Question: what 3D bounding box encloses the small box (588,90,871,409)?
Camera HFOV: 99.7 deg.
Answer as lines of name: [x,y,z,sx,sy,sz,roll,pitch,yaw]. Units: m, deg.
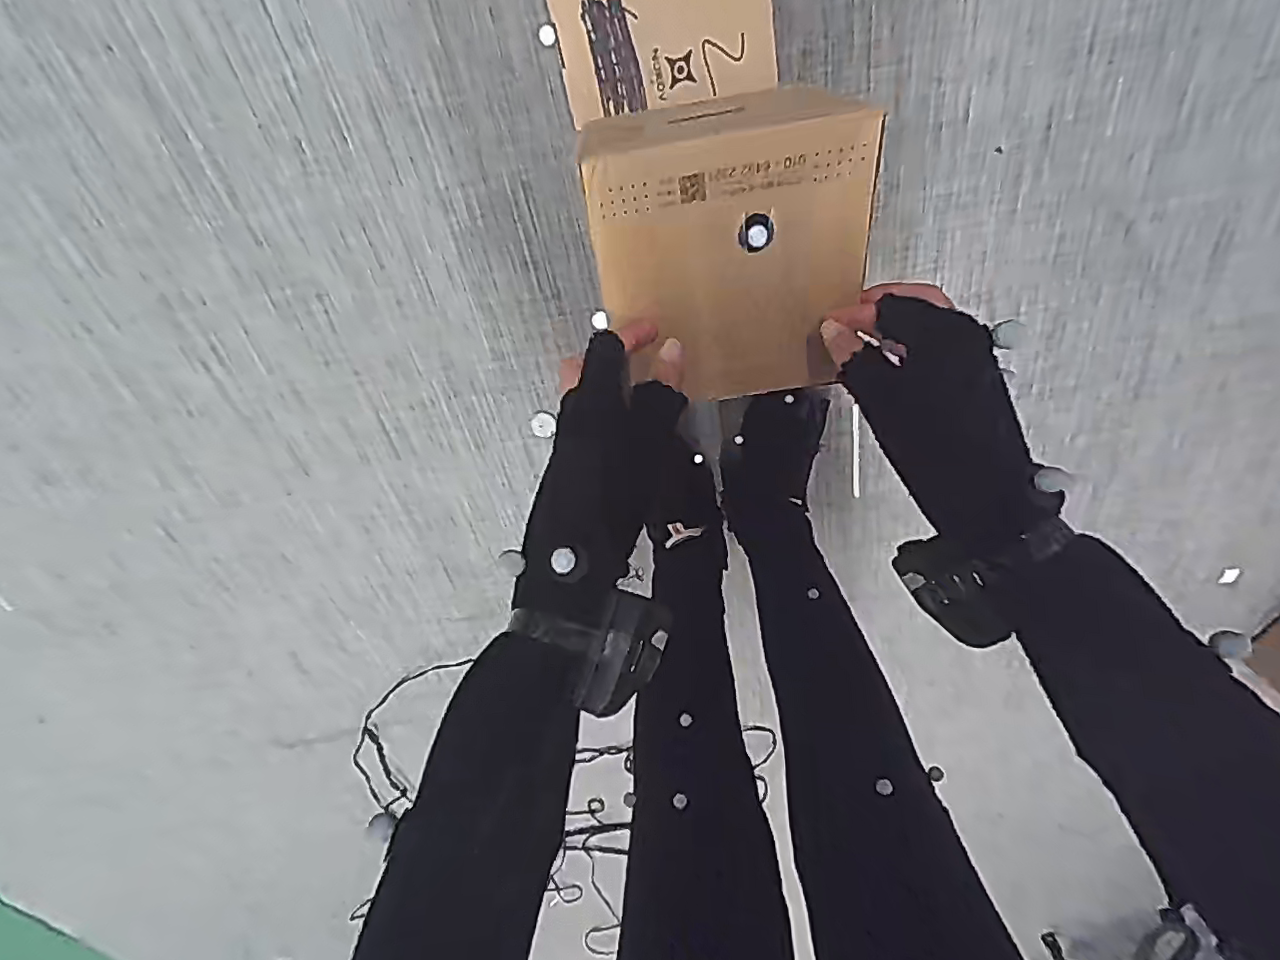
small box: [0.058,-0.178,0.407,0.168,0.179,0.176,-7,129,4]
